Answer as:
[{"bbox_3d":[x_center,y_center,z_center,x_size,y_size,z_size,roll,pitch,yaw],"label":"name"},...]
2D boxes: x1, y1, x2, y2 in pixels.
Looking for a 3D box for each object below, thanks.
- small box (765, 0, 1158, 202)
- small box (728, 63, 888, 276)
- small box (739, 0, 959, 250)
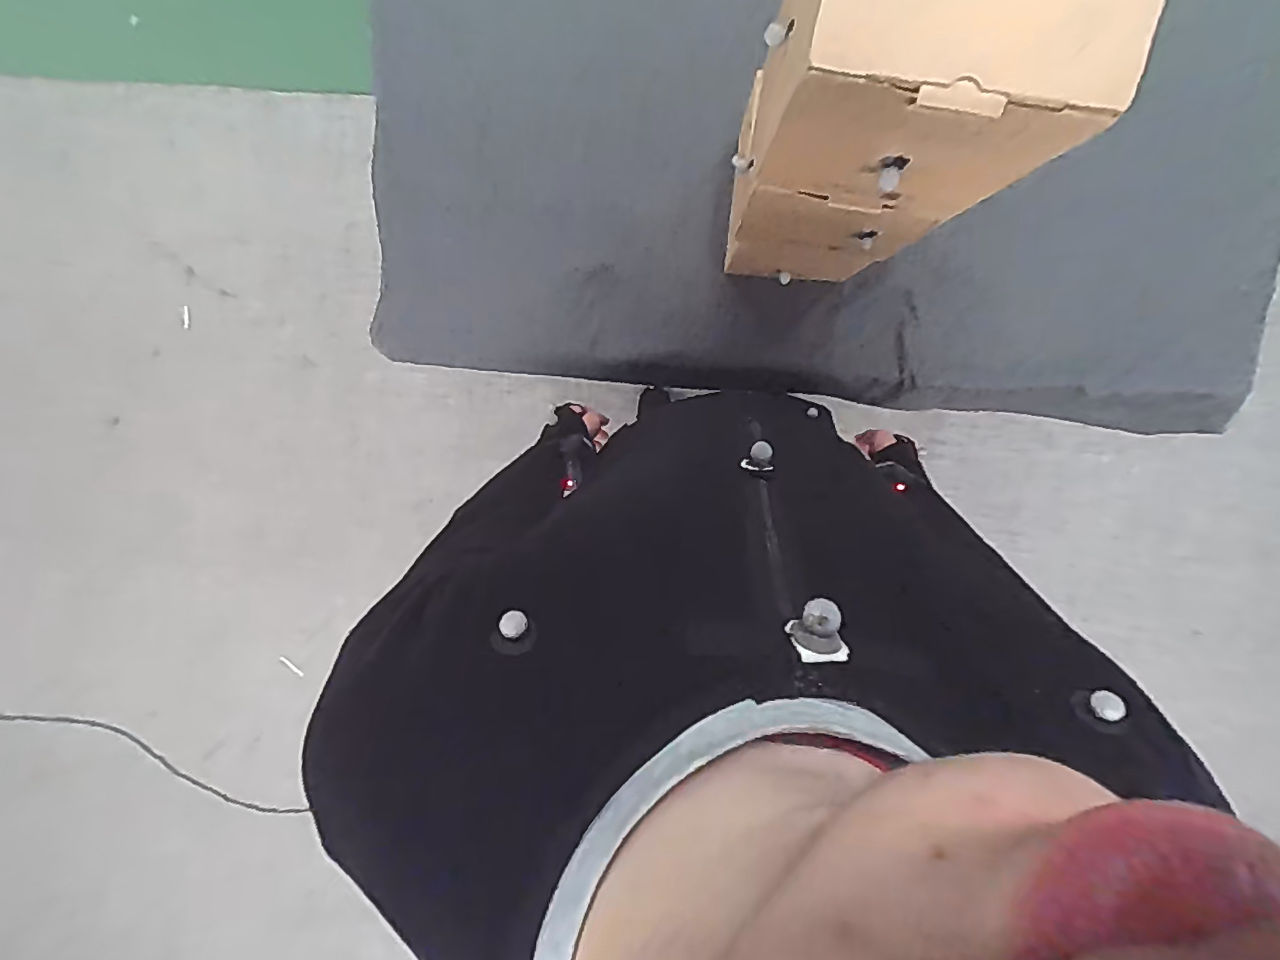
[{"bbox_3d":[0.183,-0.295,0.336,0.168,0.176,0.179,11,103,1],"label":"small box"},{"bbox_3d":[0.203,-0.359,0.654,0.168,0.176,0.179,6,102,3],"label":"small box"},{"bbox_3d":[0.191,-0.326,0.497,0.168,0.176,0.179,9,100,1],"label":"small box"}]
